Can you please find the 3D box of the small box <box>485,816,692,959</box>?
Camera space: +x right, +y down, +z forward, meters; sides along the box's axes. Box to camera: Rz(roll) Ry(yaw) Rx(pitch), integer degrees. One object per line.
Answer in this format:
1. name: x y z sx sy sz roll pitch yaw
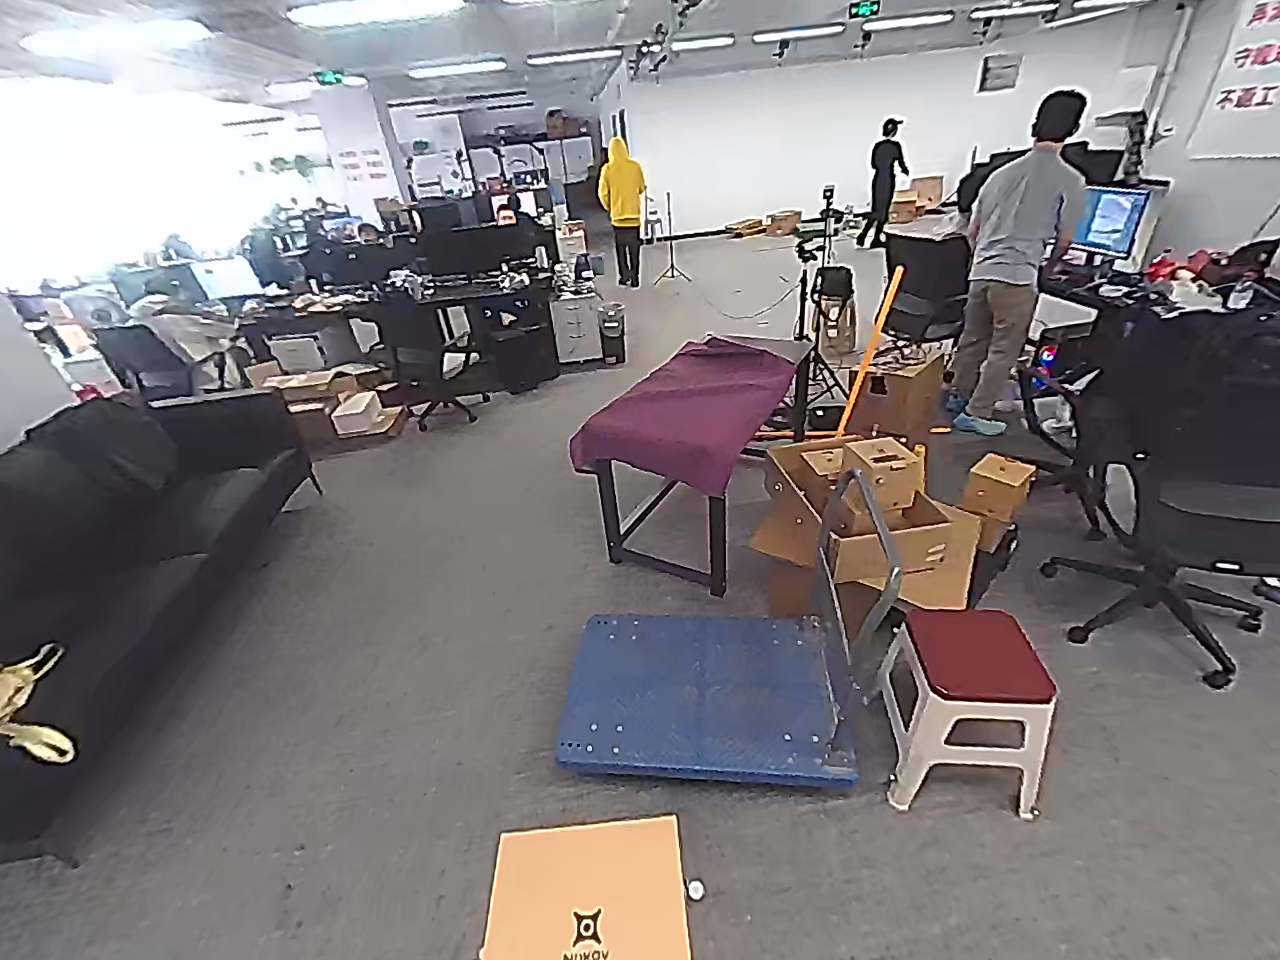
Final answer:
1. small box: -0.037 0.437 0.482 0.168 0.176 0.179 -6 34 1
